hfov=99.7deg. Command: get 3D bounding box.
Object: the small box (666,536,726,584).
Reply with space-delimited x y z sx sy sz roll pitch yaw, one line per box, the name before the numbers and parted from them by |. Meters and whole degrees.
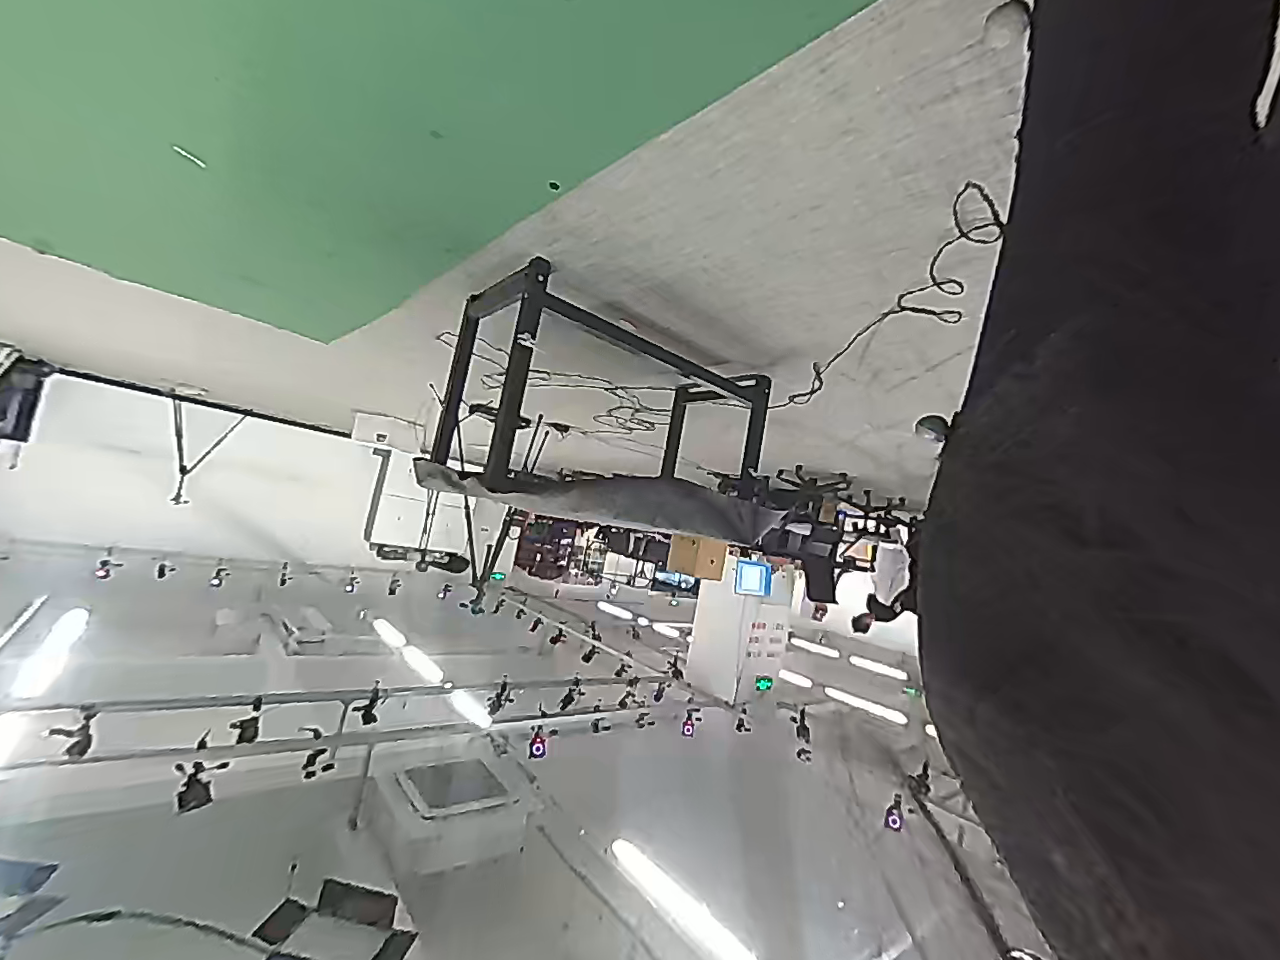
small box | 0.237 0.333 2.264 0.179 0.176 0.168 15 173 -39
